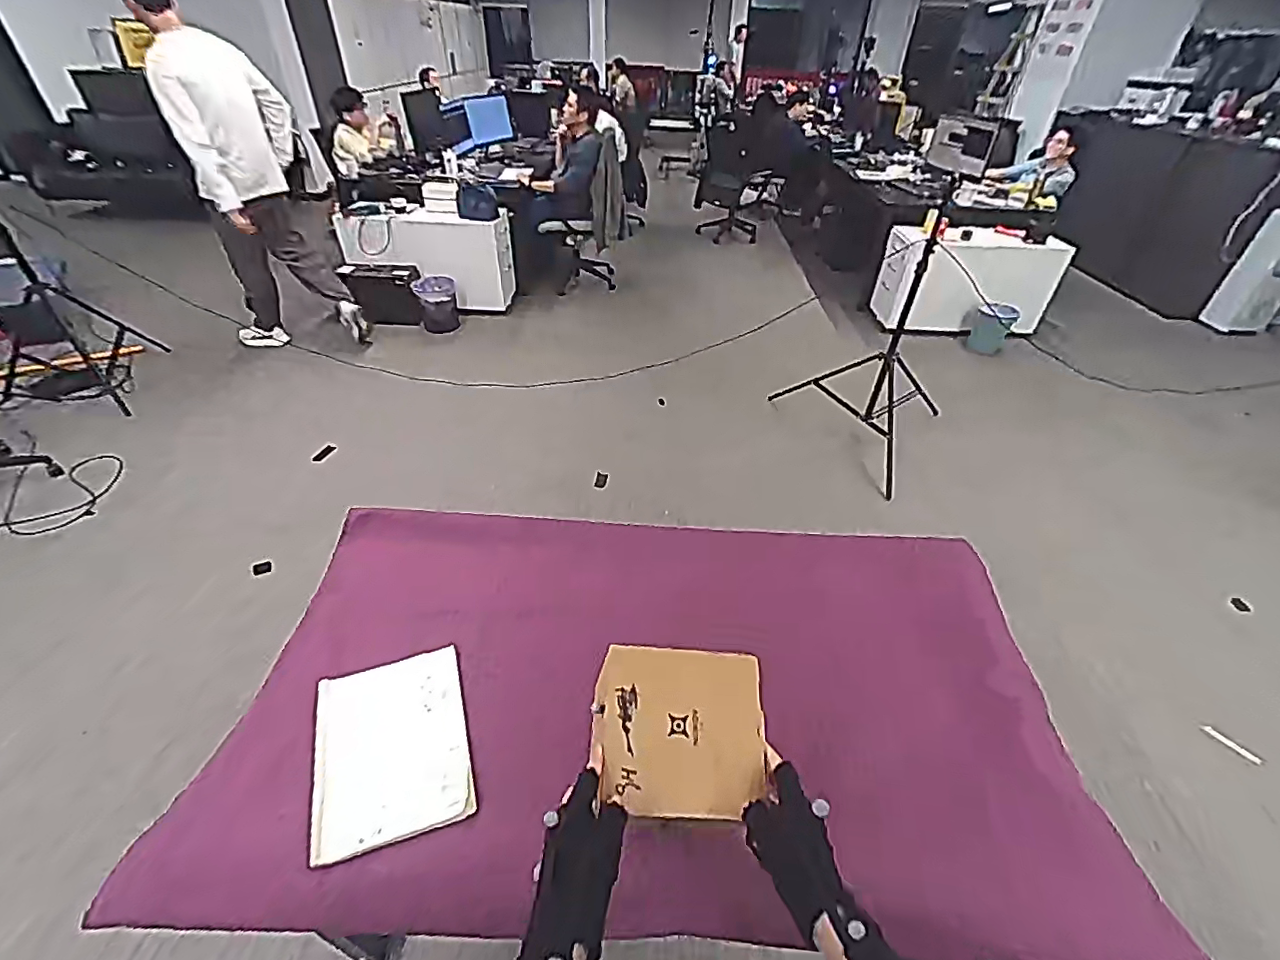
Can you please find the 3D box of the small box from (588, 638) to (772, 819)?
[{"bbox_3d":[0.038,0.300,0.639,0.179,0.176,0.168,7,56,-6],"label":"small box"}]
